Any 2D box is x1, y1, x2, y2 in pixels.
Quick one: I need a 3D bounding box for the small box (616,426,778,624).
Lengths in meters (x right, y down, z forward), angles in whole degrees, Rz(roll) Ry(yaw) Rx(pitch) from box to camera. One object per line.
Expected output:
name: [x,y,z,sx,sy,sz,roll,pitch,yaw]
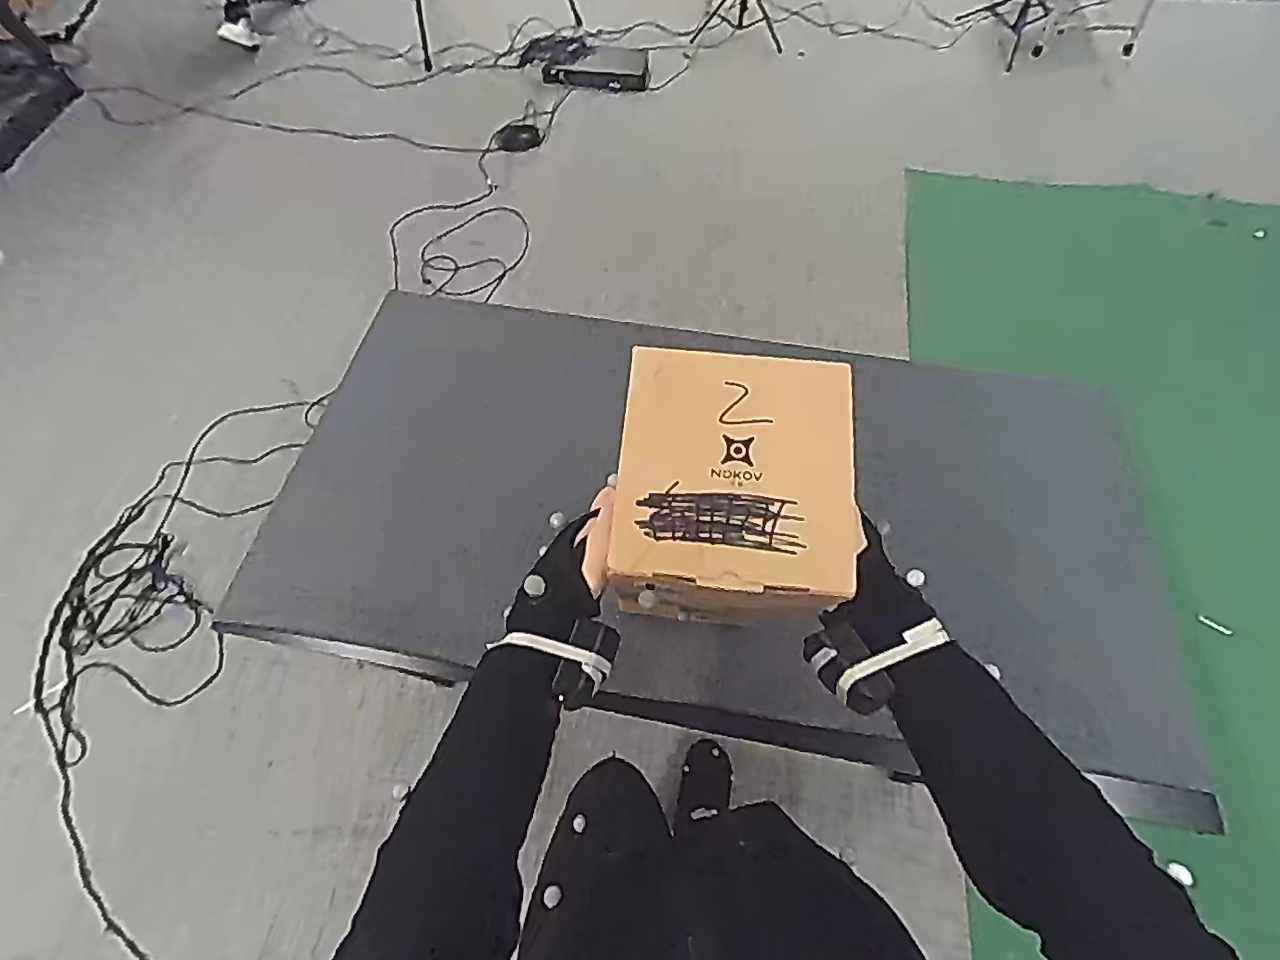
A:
small box: [0.066,0.059,0.653,0.168,0.176,0.179,6,62,4]
